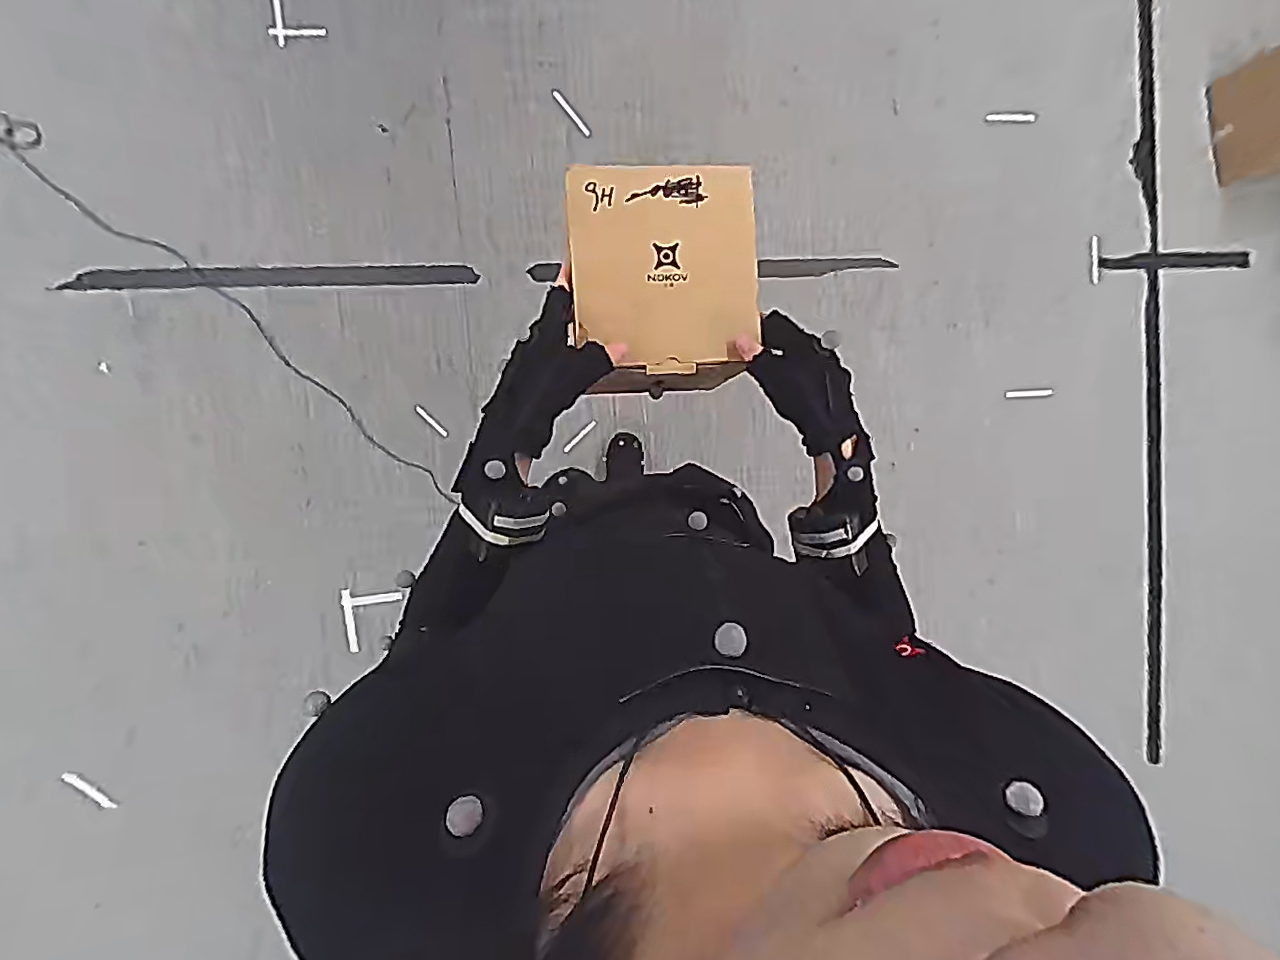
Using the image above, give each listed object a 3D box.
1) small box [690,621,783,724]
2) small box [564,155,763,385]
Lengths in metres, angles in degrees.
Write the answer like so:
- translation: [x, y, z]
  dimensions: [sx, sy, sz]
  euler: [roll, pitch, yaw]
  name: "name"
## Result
- translation: [0.254, 0.523, 1.494]
  dimensions: [0.179, 0.176, 0.168]
  euler: [-41, 98, -4]
  name: "small box"
- translation: [0.015, -0.191, 0.539]
  dimensions: [0.168, 0.176, 0.179]
  euler: [-4, 93, -7]
  name: "small box"
